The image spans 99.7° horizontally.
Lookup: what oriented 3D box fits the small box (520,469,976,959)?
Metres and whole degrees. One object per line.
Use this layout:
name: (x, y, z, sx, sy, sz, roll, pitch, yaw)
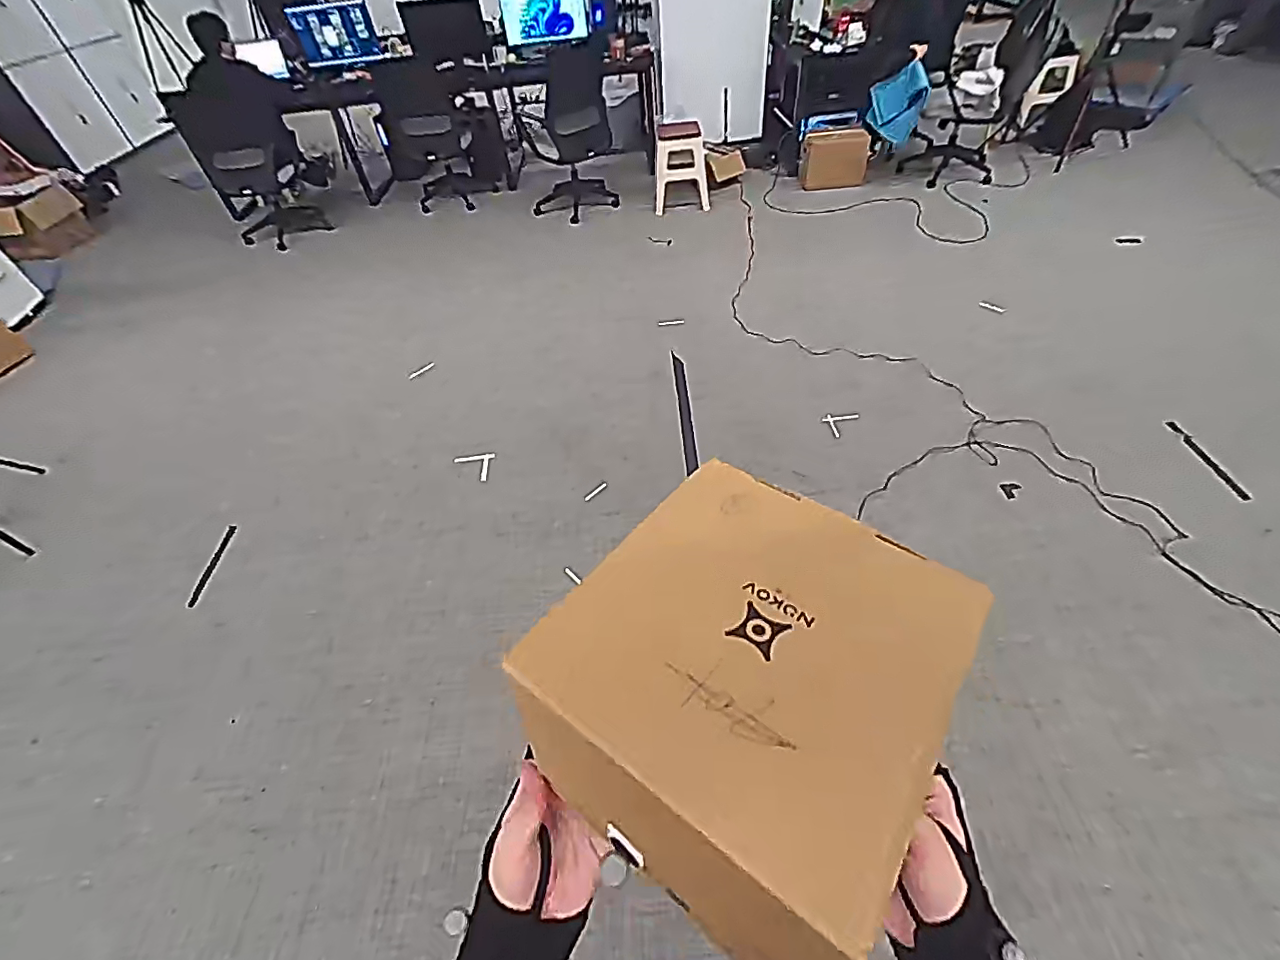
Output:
small box: (0.057, 0.131, 0.318, 0.168, 0.176, 0.179, 27, 52, 26)
